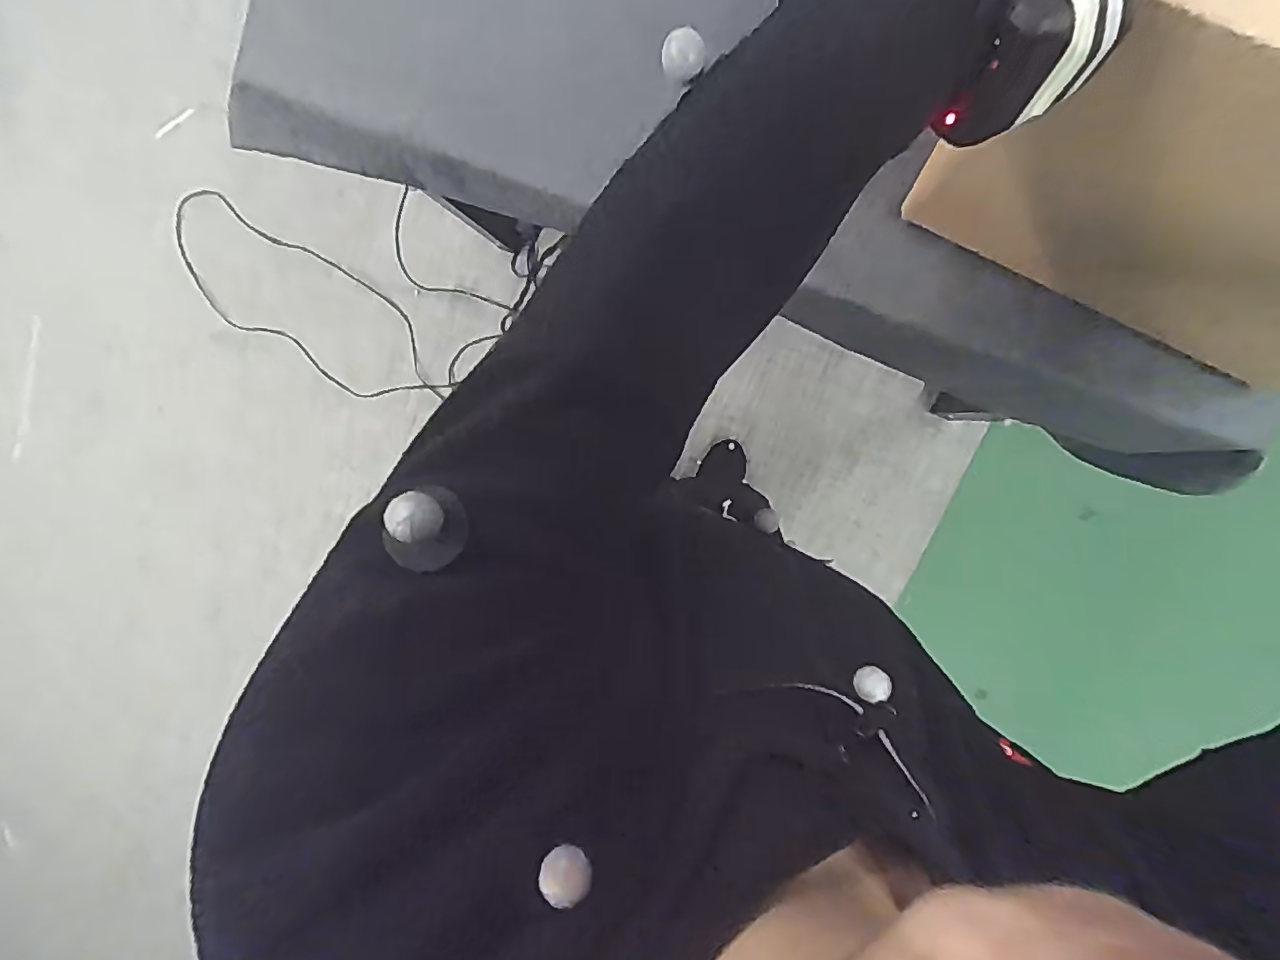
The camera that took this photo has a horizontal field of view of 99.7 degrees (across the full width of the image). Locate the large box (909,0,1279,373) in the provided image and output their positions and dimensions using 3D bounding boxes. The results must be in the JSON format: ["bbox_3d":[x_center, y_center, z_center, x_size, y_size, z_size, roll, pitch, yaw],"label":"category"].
[{"bbox_3d":[0.489,-0.307,0.369,0.408,0.320,0.320,28,100,4],"label":"large box"}]
